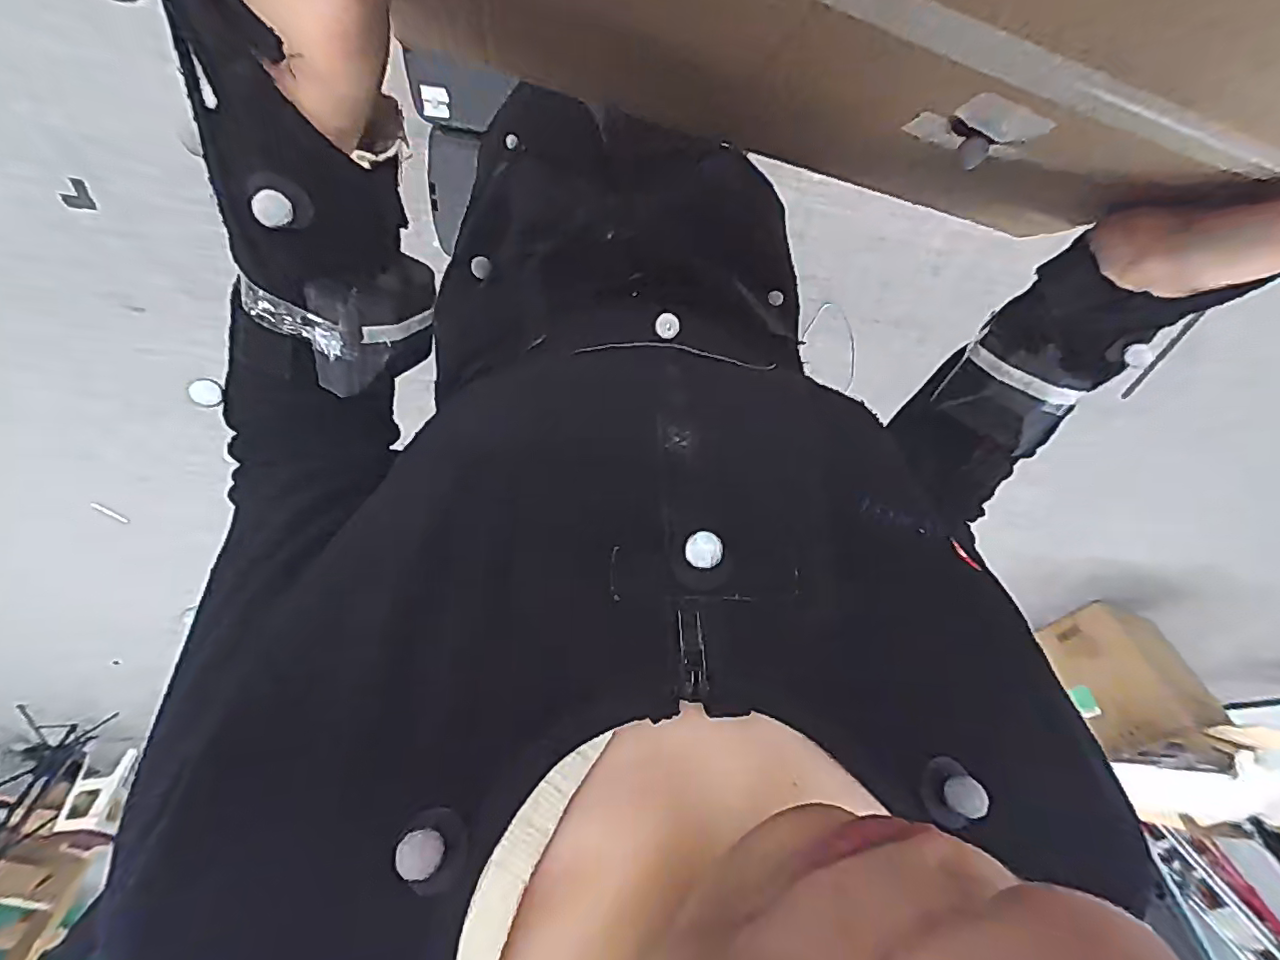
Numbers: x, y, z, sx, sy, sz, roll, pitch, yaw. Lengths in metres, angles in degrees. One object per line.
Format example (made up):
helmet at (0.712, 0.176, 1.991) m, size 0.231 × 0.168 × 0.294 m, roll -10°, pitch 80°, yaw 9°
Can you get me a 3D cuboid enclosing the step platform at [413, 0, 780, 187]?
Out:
step platform at (-0.062, -0.803, 1.025) m, size 0.684 × 0.204 × 0.286 m, roll 9°, pitch 133°, yaw -12°
